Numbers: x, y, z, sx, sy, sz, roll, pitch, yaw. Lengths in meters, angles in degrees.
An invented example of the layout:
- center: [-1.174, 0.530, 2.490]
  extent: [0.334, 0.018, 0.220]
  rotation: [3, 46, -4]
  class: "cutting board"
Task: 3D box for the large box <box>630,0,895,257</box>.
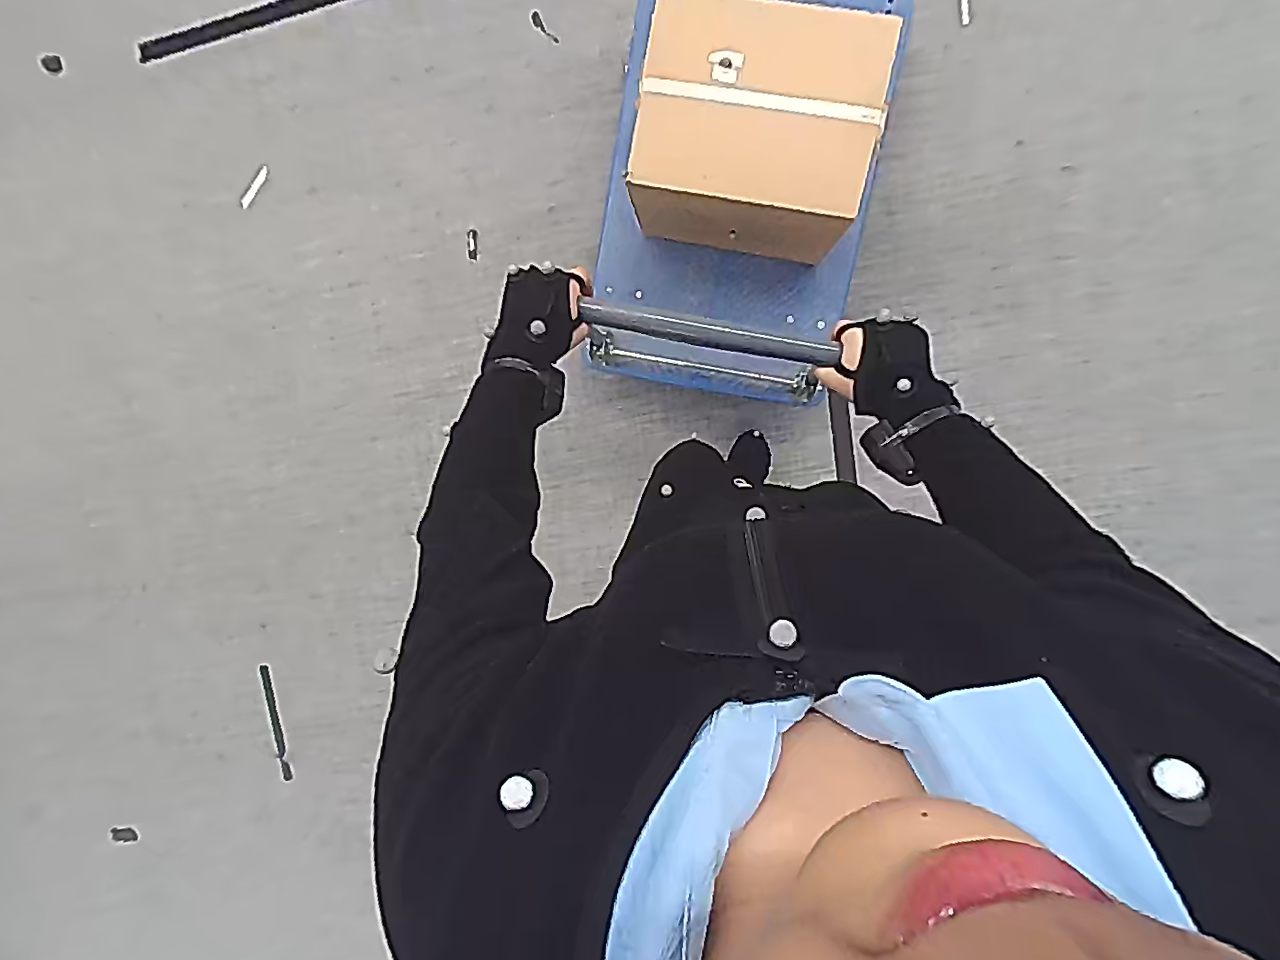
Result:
- center: [0.220, -0.659, 1.068]
  extent: [0.408, 0.320, 0.320]
  rotation: [11, 98, 6]
  class: "large box"
